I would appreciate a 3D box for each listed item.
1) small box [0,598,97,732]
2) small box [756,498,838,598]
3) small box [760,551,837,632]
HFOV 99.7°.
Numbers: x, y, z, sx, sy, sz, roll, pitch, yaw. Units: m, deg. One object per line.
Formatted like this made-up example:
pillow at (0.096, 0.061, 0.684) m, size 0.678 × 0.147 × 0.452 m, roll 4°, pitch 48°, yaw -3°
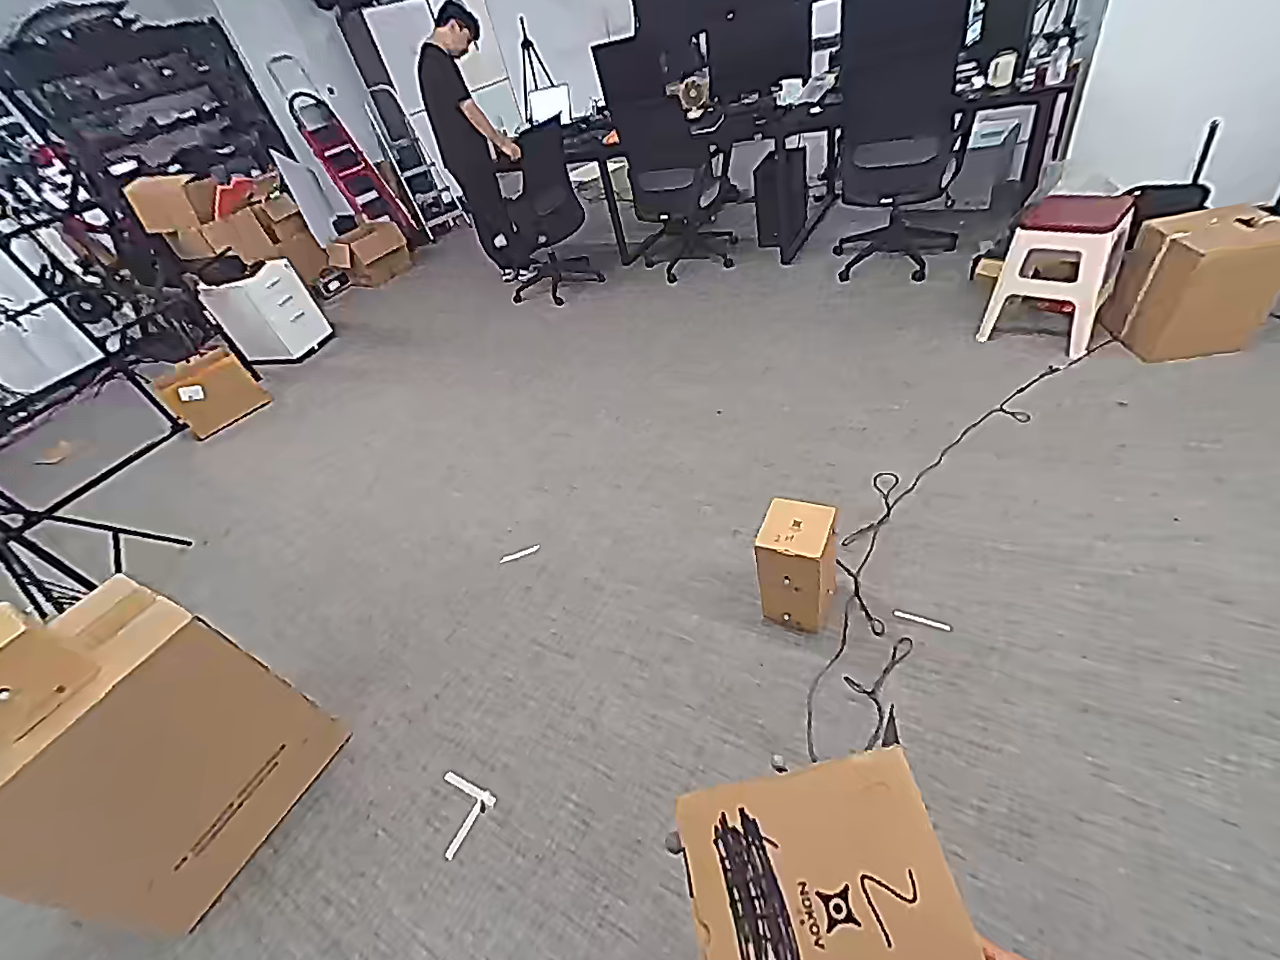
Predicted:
small box at (-1.246, 0.368, 1.068) m, size 0.179 × 0.176 × 0.168 m, roll 12°, pitch 49°, yaw 30°
small box at (0.415, 0.177, 1.425) m, size 0.168 × 0.176 × 0.179 m, roll 10°, pitch 48°, yaw 29°
small box at (0.451, 0.297, 1.533) m, size 0.168 × 0.176 × 0.179 m, roll 12°, pitch 49°, yaw 29°
